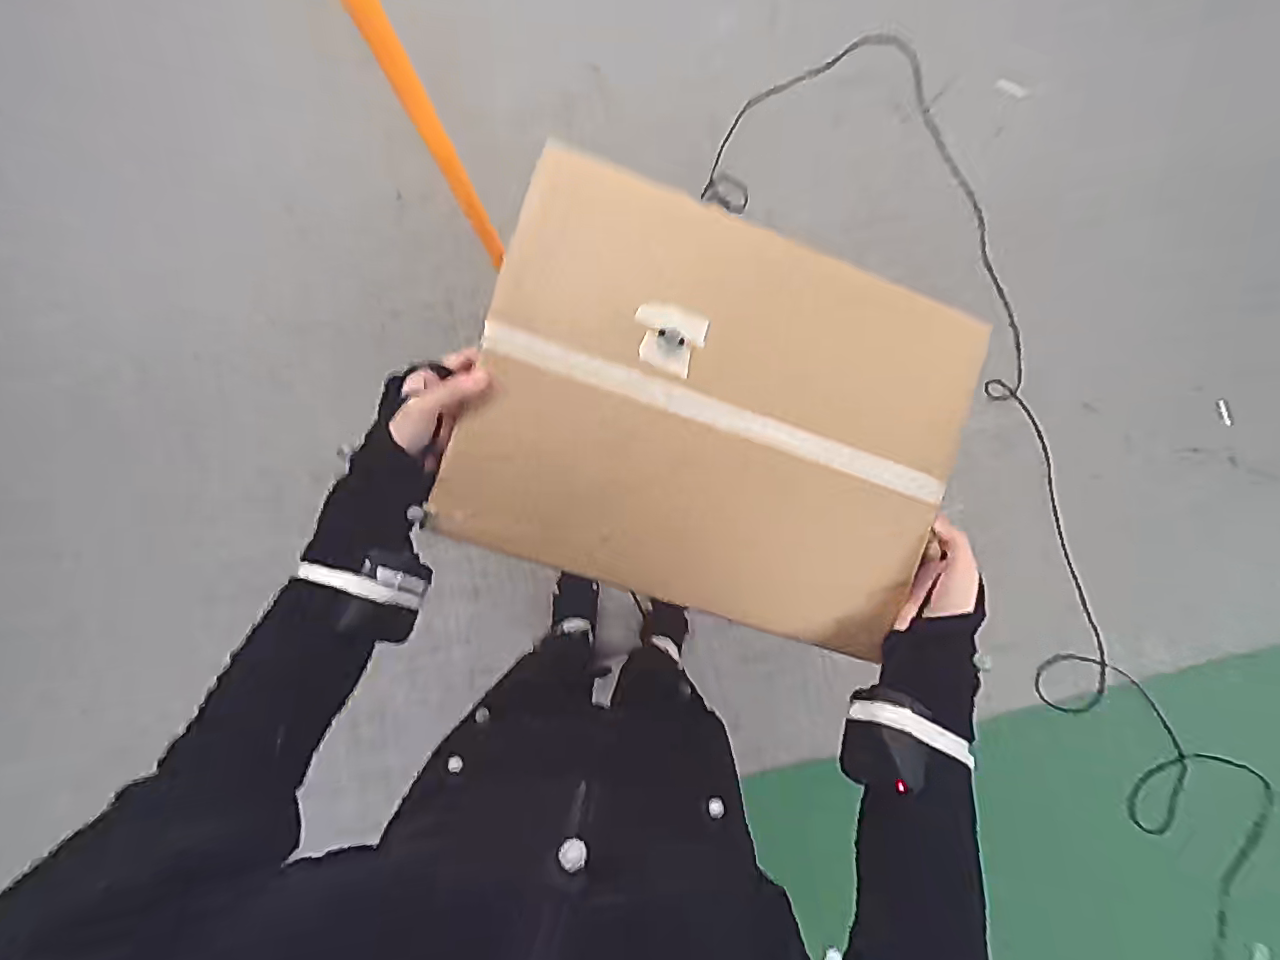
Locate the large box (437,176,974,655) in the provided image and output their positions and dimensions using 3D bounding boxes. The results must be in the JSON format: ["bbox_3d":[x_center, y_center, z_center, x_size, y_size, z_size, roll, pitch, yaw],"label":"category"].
[{"bbox_3d":[0.050,-0.051,0.606,0.408,0.320,0.320,18,91,-8],"label":"large box"}]
